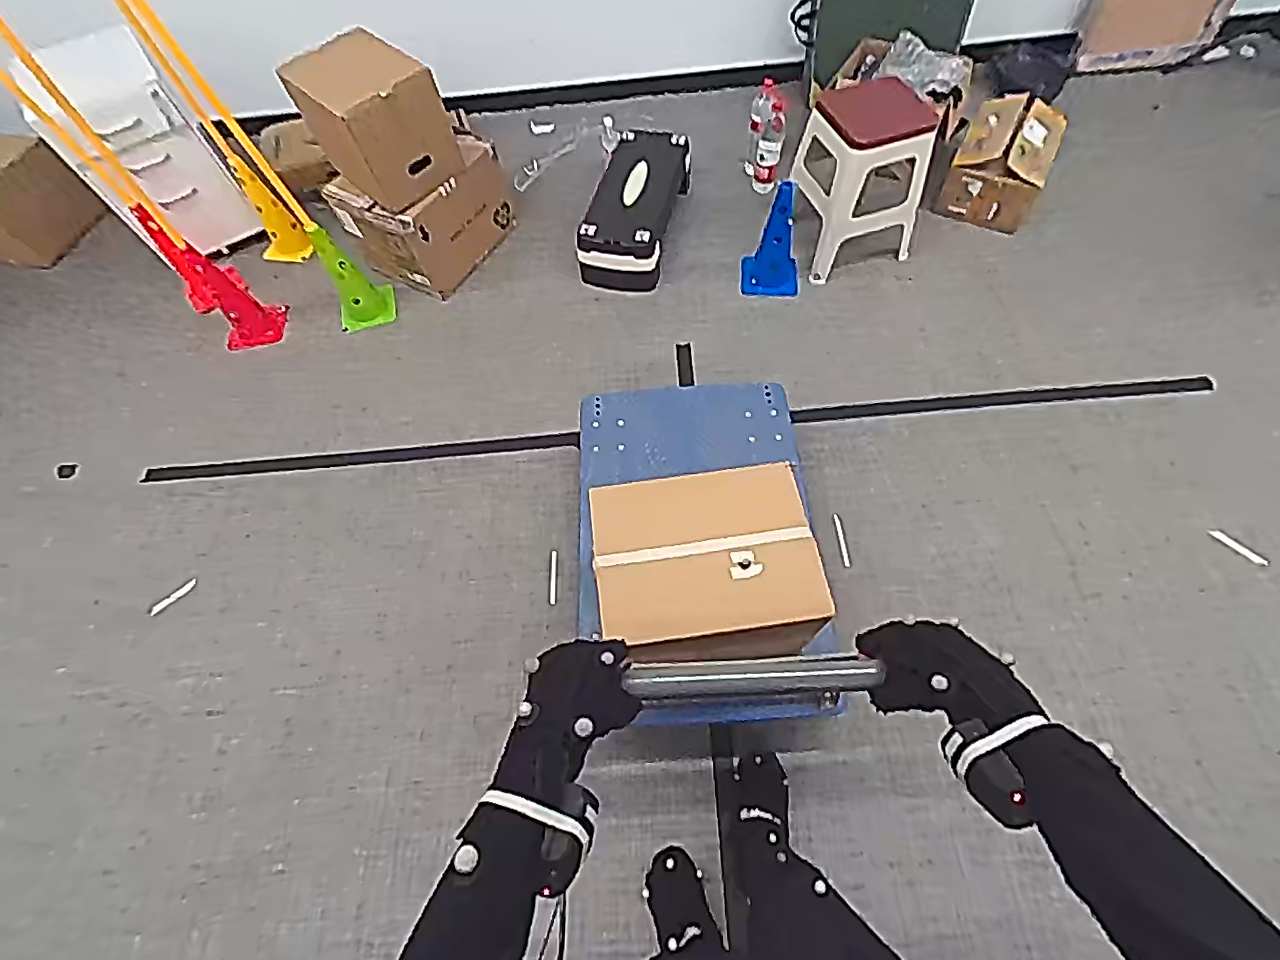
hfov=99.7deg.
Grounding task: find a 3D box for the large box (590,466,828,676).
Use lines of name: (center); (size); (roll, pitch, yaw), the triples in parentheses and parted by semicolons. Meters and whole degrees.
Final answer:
large box: (0.122, 0.204, 1.144); (0.408, 0.320, 0.320); (-8, 62, -2)
